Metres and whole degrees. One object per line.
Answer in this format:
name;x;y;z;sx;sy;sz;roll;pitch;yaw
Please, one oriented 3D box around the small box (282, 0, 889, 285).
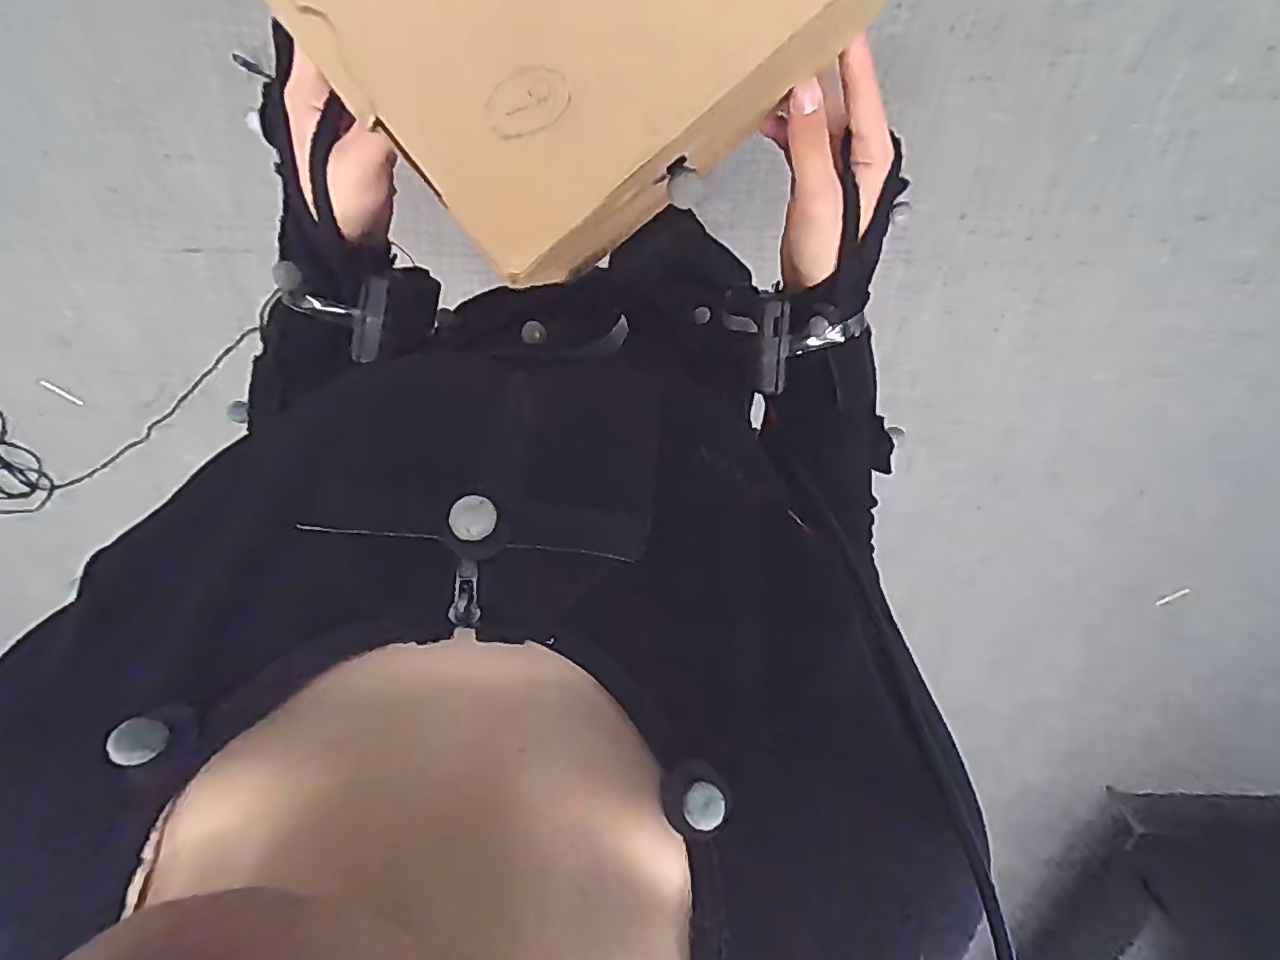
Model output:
small box;-0.017;-0.198;0.214;0.179;0.176;0.168;-35;106;14
